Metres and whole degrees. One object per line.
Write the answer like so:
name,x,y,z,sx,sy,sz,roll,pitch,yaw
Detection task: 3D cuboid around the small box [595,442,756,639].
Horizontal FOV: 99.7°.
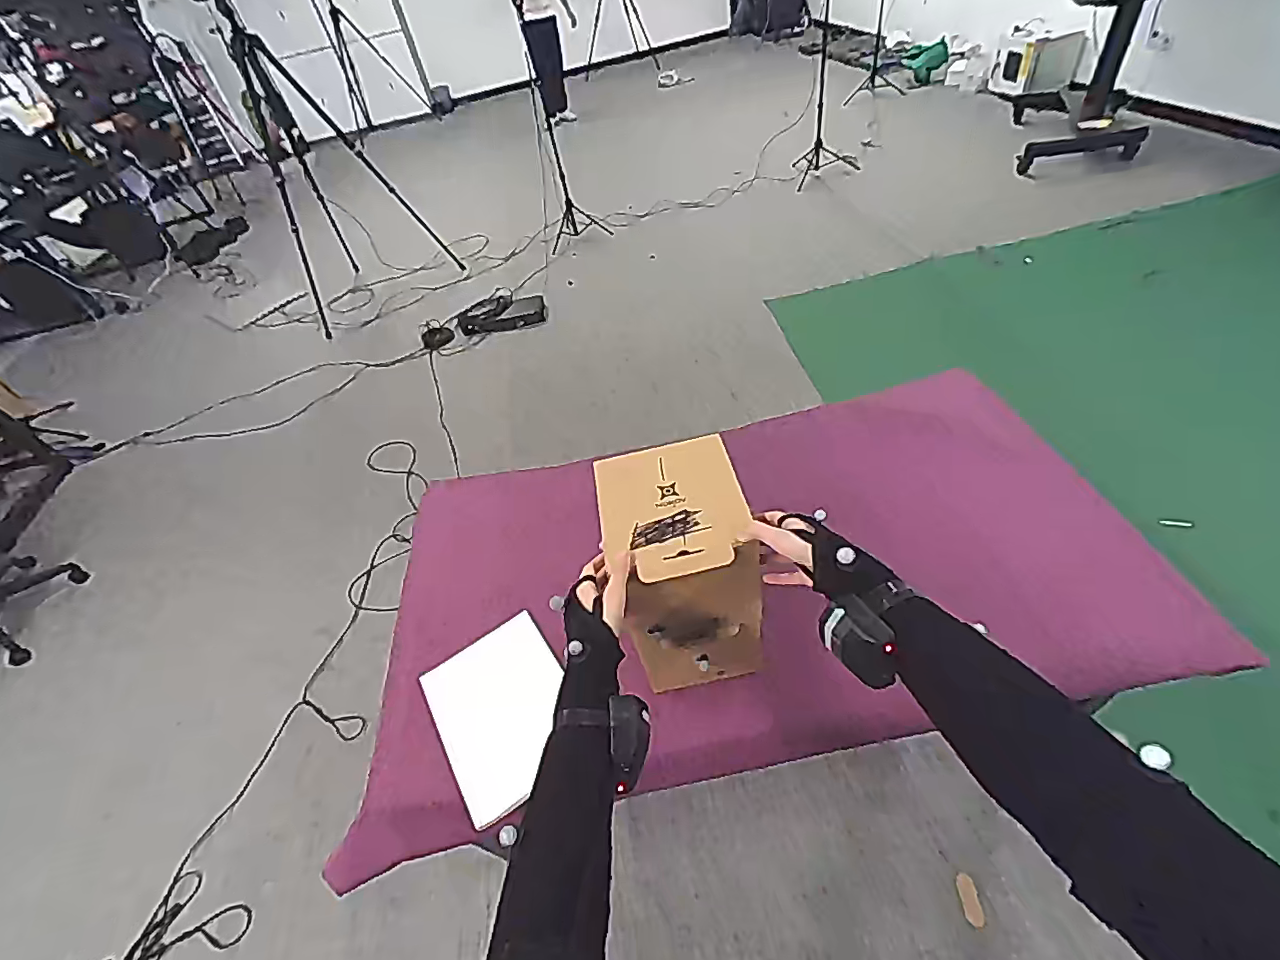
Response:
small box,0.045,0.083,0.684,0.168,0.176,0.179,-12,44,1

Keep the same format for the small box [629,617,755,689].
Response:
small box,0.071,0.193,0.805,0.168,0.176,0.179,-12,46,1
